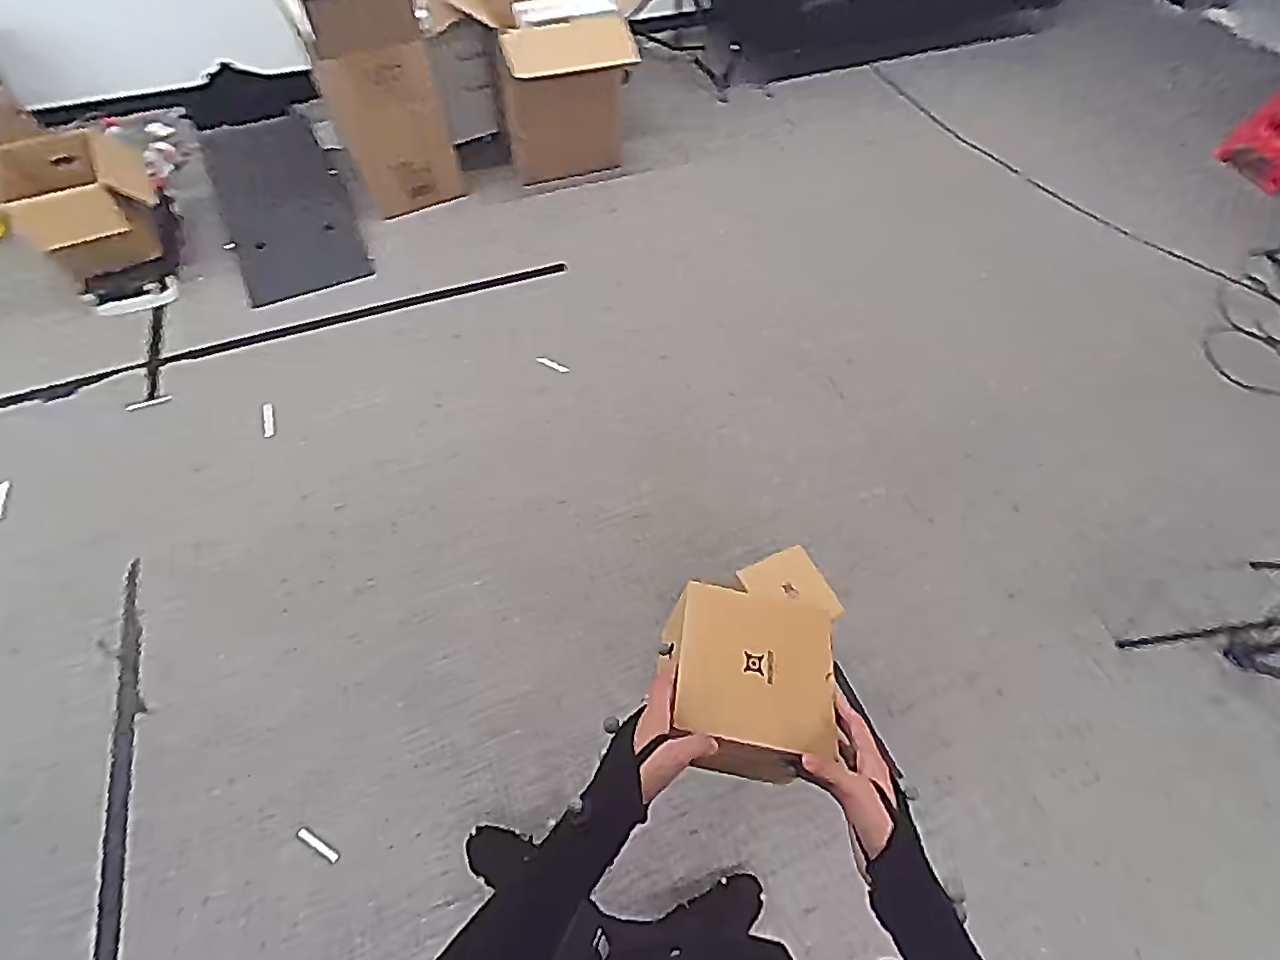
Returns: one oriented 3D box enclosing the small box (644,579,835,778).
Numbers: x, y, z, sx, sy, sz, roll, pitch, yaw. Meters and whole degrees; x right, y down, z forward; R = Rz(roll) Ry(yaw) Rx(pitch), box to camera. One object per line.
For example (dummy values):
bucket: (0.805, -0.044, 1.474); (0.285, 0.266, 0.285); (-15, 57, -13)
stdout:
small box: (0.107, 0.240, 0.641); (0.179, 0.176, 0.168); (11, 53, -3)

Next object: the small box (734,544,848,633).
small box: (0.316, 0.275, 1.194); (0.168, 0.176, 0.179); (-21, 62, -14)
